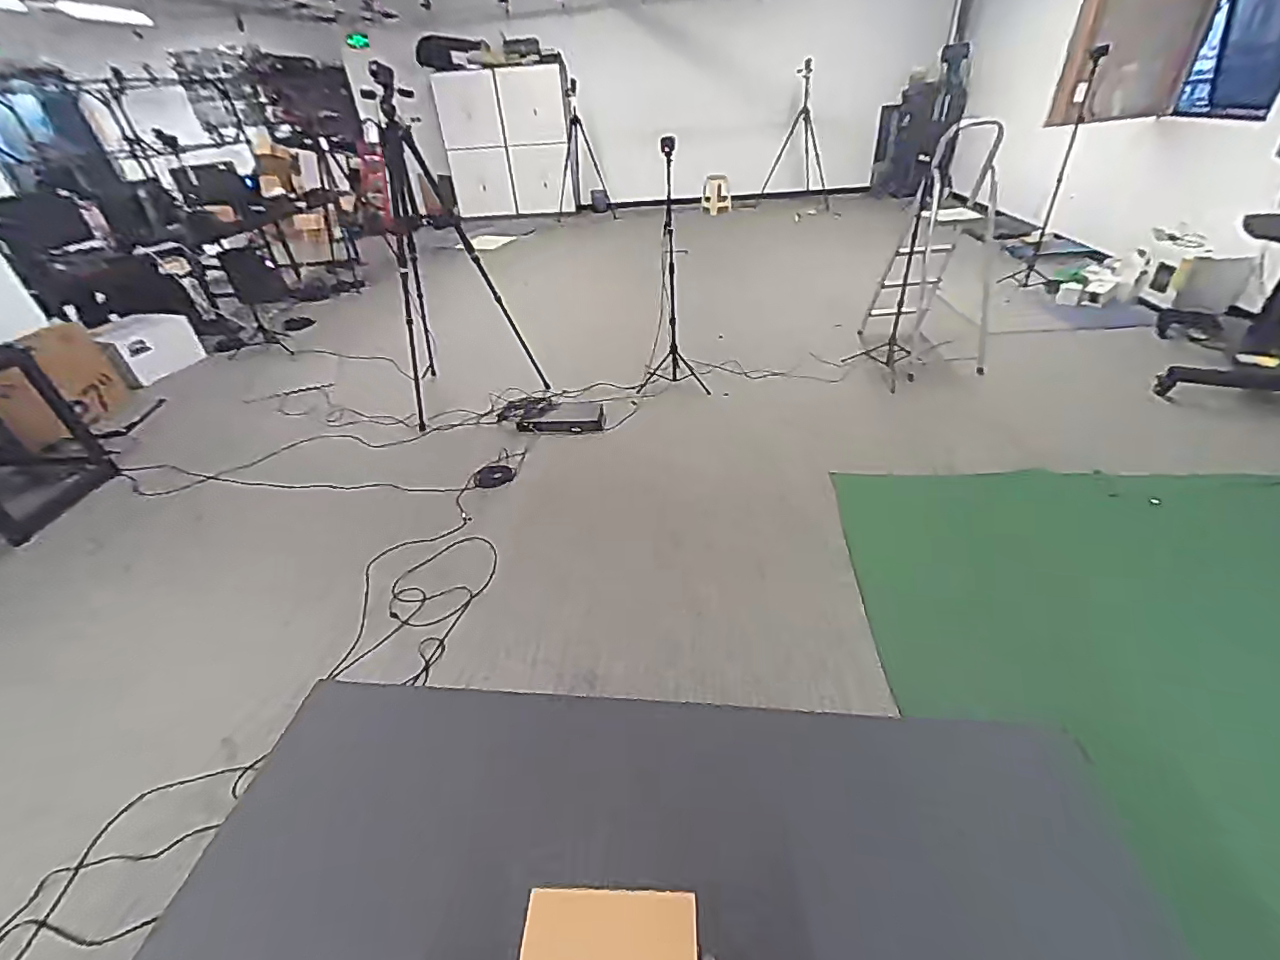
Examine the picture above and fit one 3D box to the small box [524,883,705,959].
[{"bbox_3d":[-0.022,0.513,0.502,0.168,0.176,0.179,-2,35,4],"label":"small box"}]
